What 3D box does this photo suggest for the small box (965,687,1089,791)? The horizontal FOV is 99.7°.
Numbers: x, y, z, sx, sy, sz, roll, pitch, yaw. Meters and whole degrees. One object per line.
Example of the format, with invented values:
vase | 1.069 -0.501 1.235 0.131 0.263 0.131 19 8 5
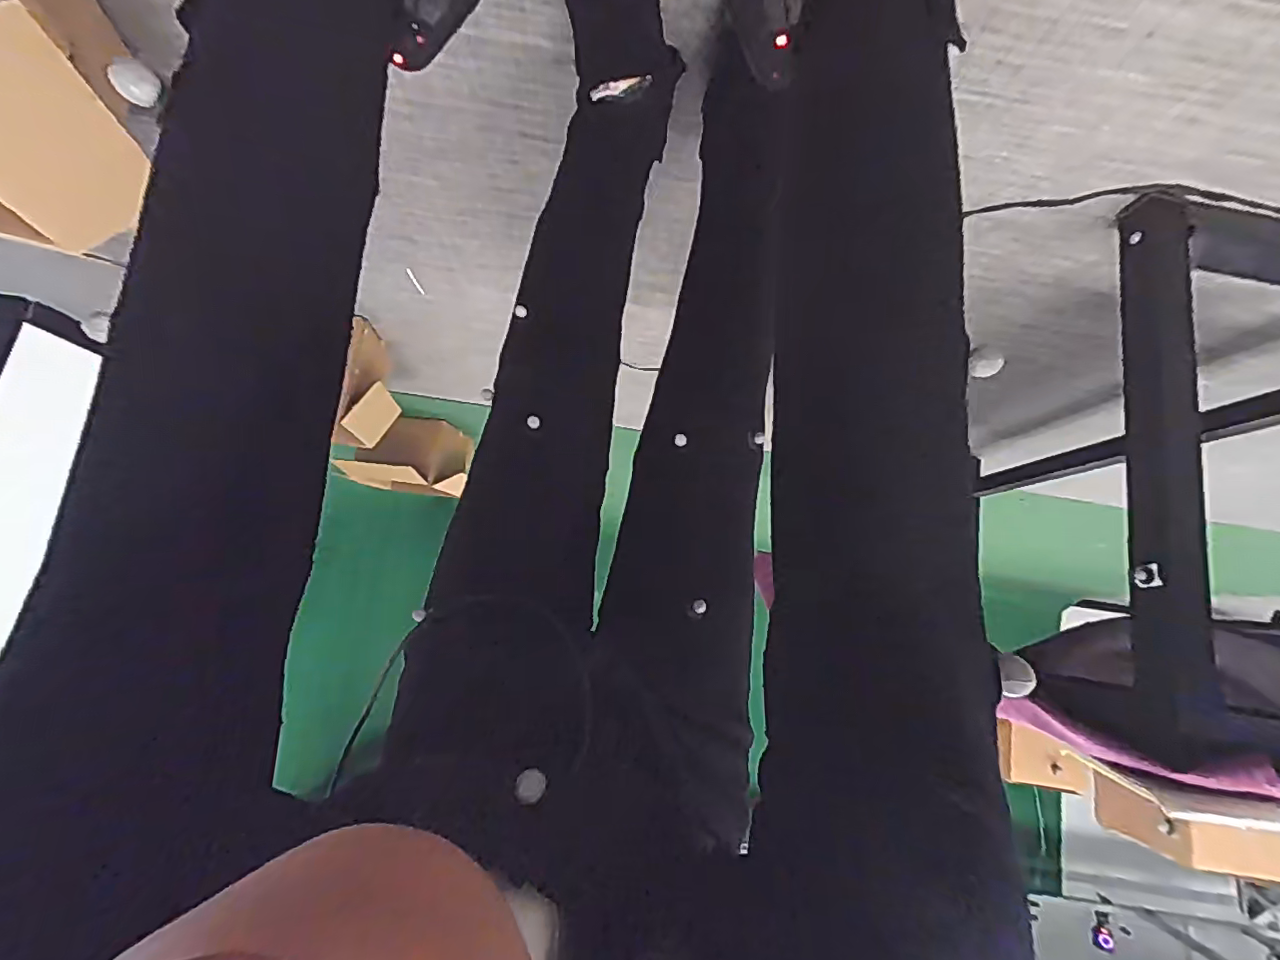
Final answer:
small box | 0.856 0.571 1.216 0.179 0.176 0.168 9 168 -2
